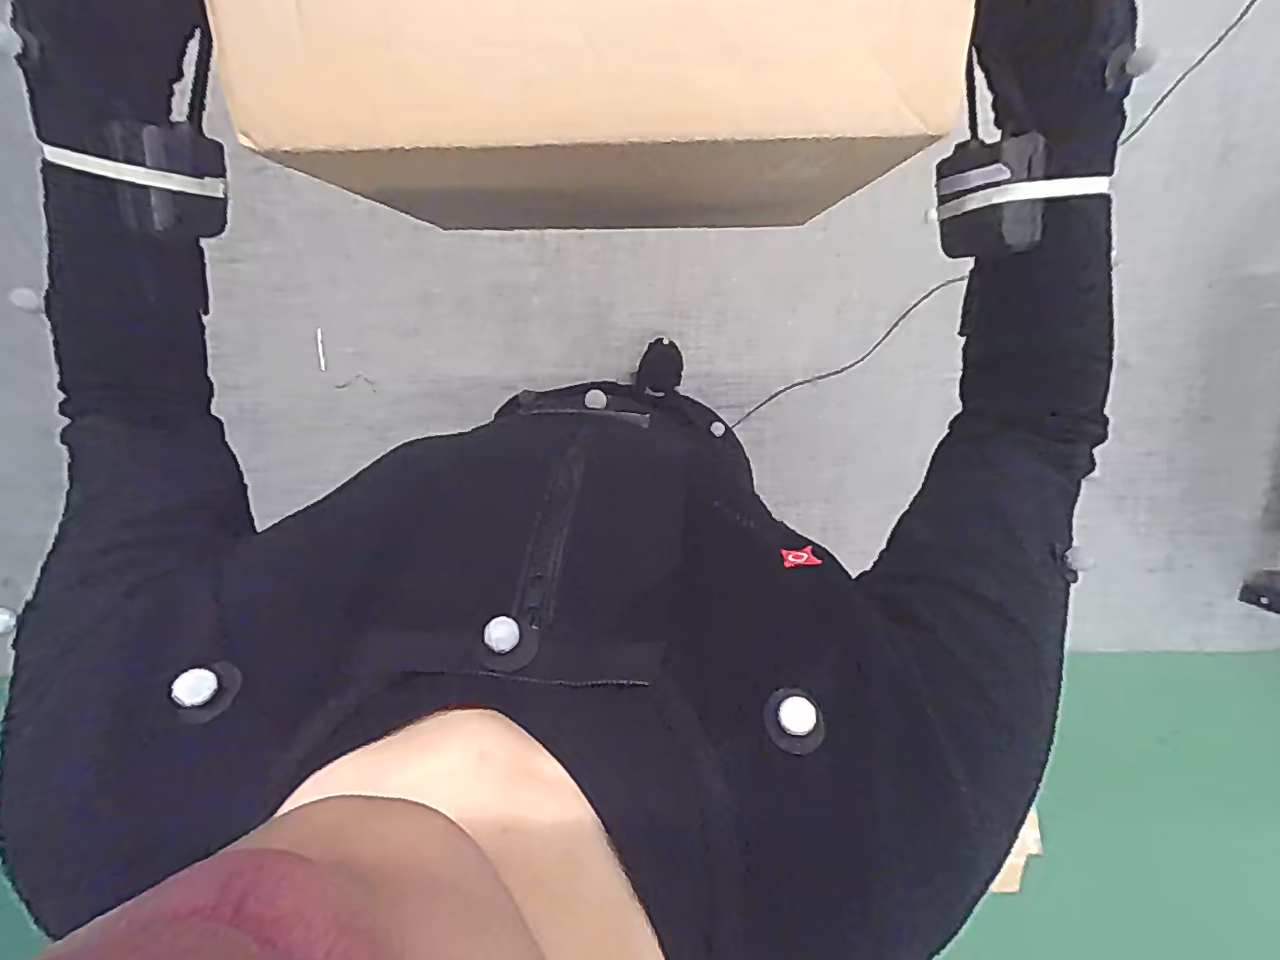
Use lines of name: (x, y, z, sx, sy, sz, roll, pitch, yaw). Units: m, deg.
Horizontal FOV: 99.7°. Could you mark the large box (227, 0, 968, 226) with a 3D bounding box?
large box: (-0.027, -0.388, 0.404, 0.408, 0.320, 0.320, -1, 108, 1)
